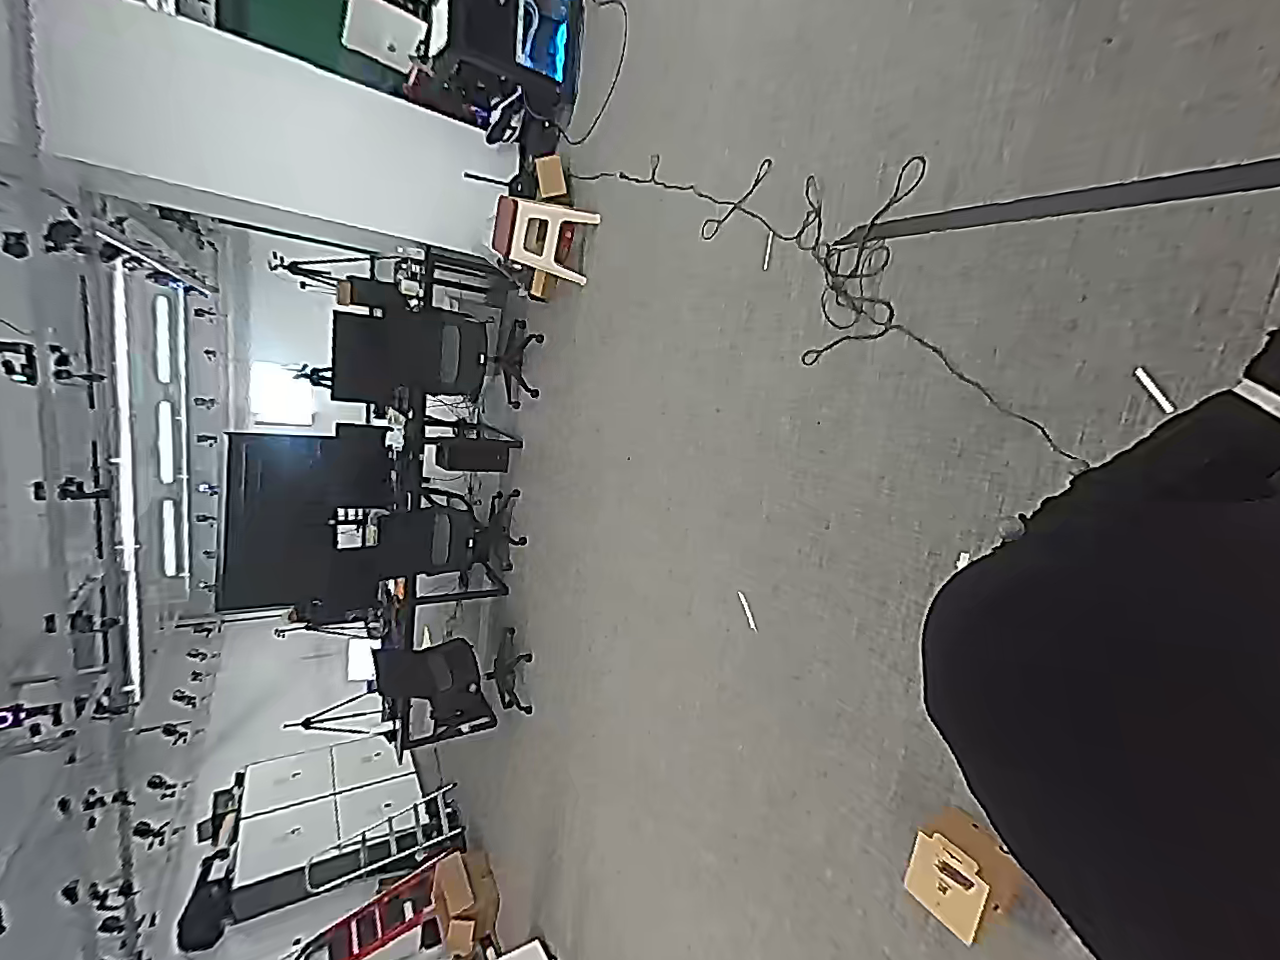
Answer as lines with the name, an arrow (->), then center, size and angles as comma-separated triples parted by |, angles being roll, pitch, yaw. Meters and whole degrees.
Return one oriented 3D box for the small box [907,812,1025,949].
small box -> 0.779, 0.941, 1.290 | 0.168, 0.176, 0.179 | 25, 111, 56
